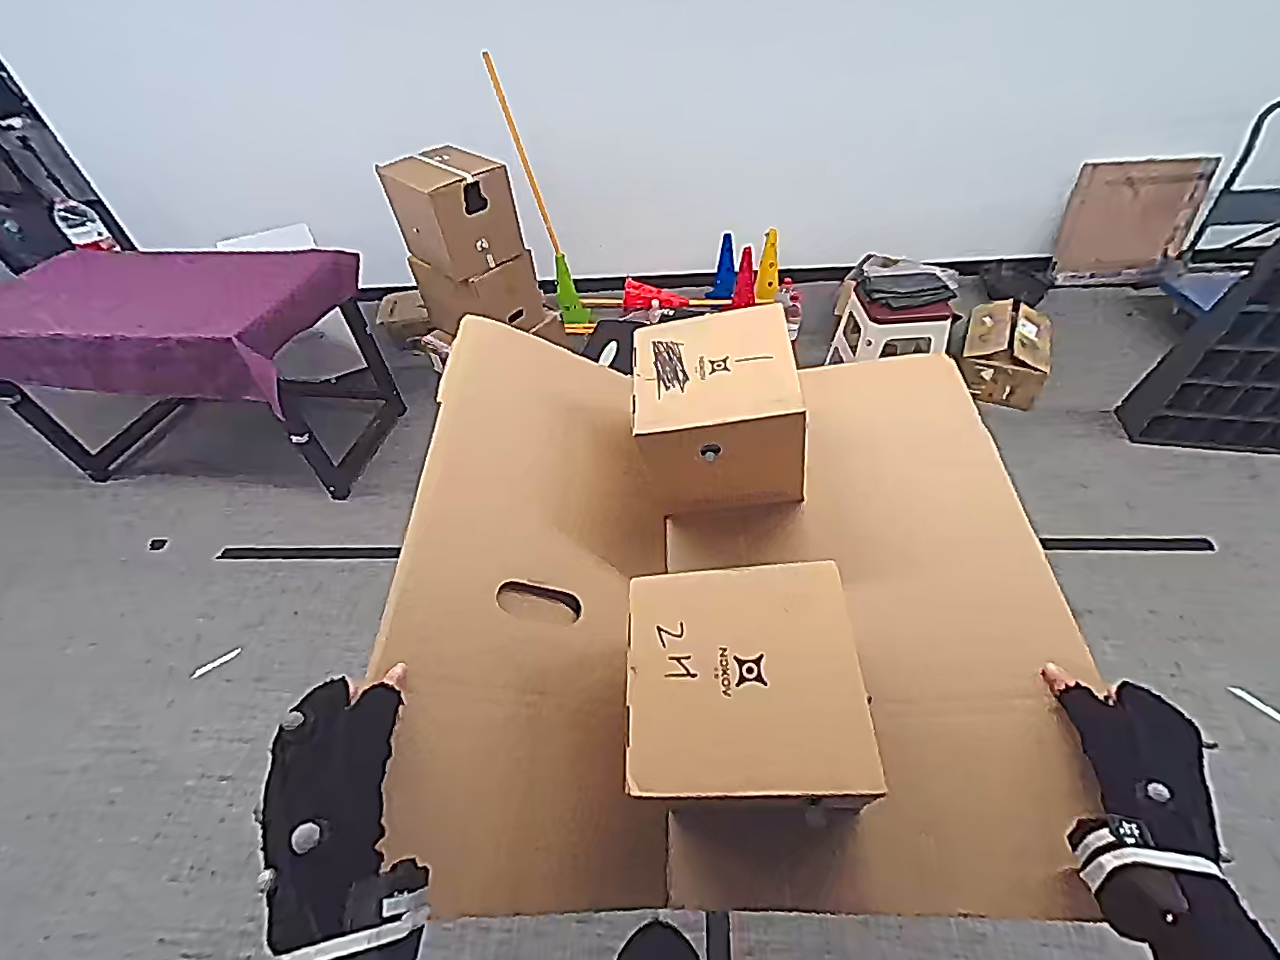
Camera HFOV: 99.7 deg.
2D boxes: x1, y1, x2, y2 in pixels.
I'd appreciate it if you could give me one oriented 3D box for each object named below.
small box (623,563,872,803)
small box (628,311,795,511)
[{"bbox_3d":[0.091,0.188,0.485,0.179,0.176,0.168,-8,55,12],"label":"small box"},{"bbox_3d":[0.091,-0.074,0.663,0.179,0.176,0.168,-7,55,11],"label":"small box"}]
